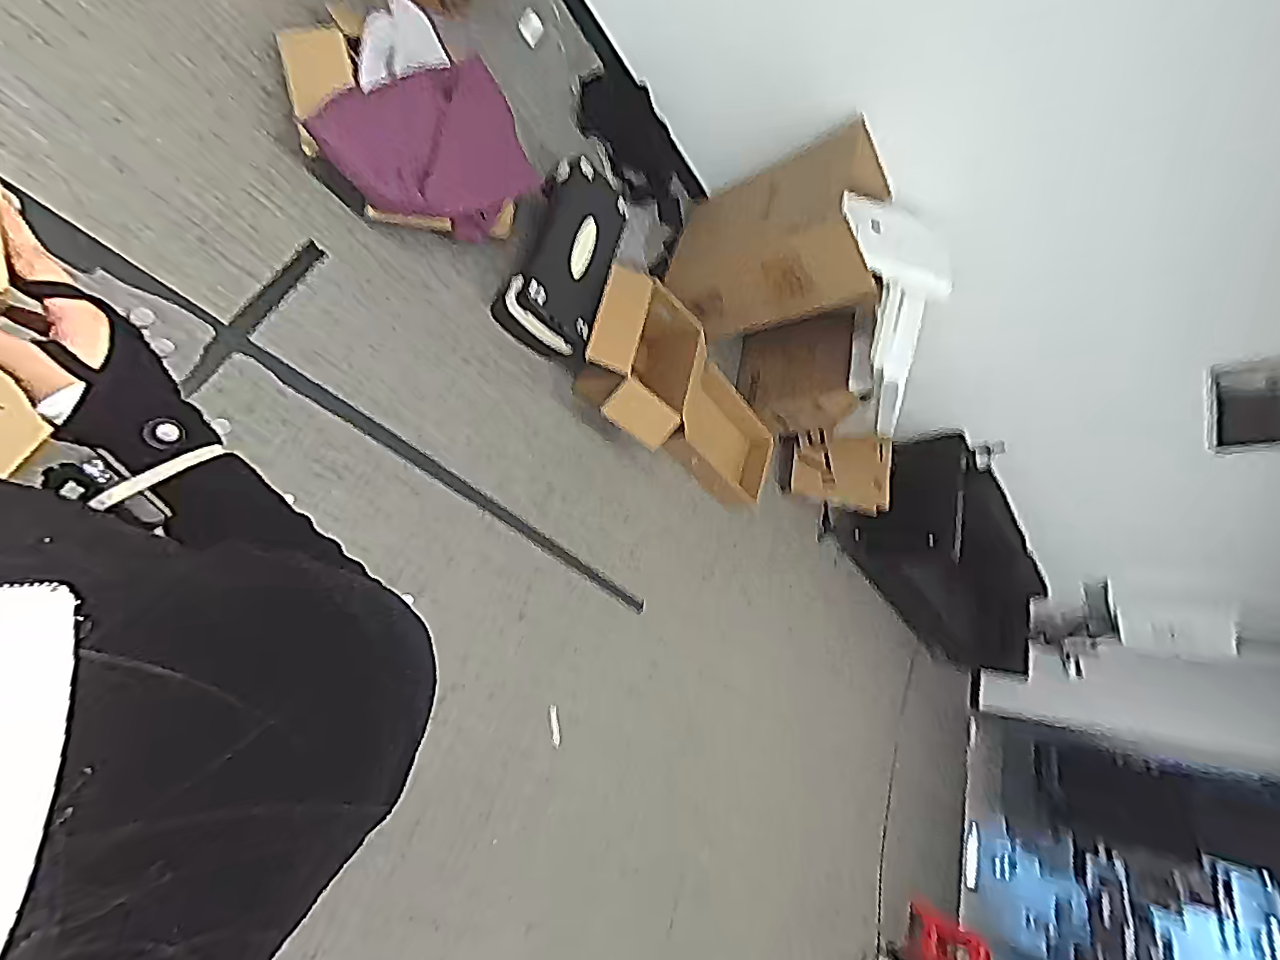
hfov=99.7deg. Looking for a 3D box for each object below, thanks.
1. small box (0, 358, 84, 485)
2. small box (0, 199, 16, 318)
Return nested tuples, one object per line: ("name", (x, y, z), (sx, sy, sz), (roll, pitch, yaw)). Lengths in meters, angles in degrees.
("small box", (-1.136, -0.107, 0.944), (0.168, 0.176, 0.179), (40, 59, -35))
("small box", (-0.471, -0.182, 0.287), (0.168, 0.176, 0.179), (-12, 104, -51))
